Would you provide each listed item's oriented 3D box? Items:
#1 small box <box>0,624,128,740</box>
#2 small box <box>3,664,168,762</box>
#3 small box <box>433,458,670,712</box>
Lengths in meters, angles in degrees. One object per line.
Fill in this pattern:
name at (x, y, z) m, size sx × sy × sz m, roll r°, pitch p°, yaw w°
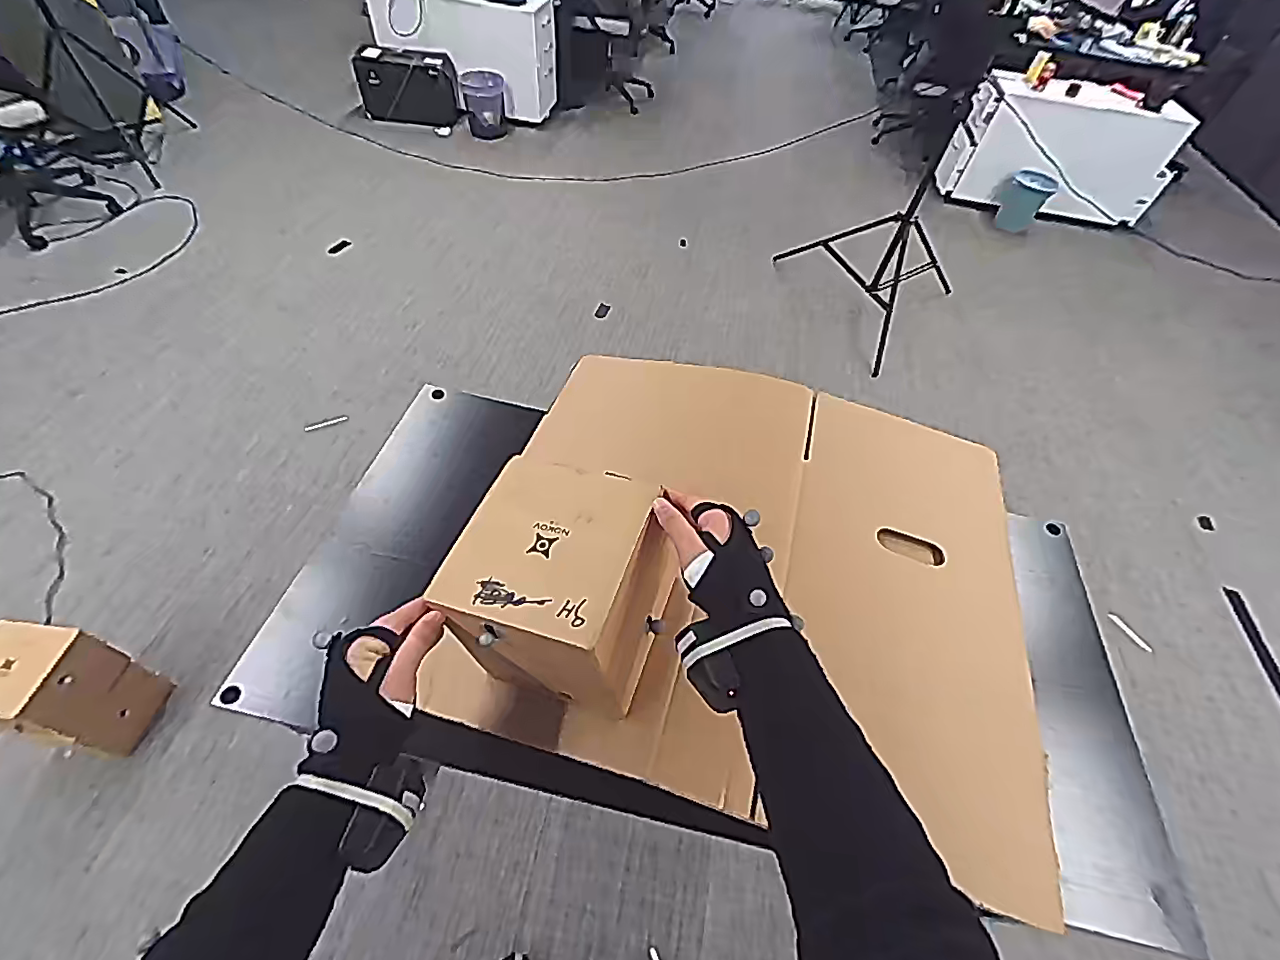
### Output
small box at (-1.229, 0.420, 1.111) m, size 0.168 × 0.176 × 0.179 m, roll 7°, pitch 51°, yaw -2°
small box at (-1.242, 0.523, 1.236) m, size 0.168 × 0.176 × 0.179 m, roll 9°, pitch 53°, yaw 1°
small box at (-0.070, 0.106, 0.556) m, size 0.168 × 0.176 × 0.179 m, roll 10°, pitch 51°, yaw 18°
